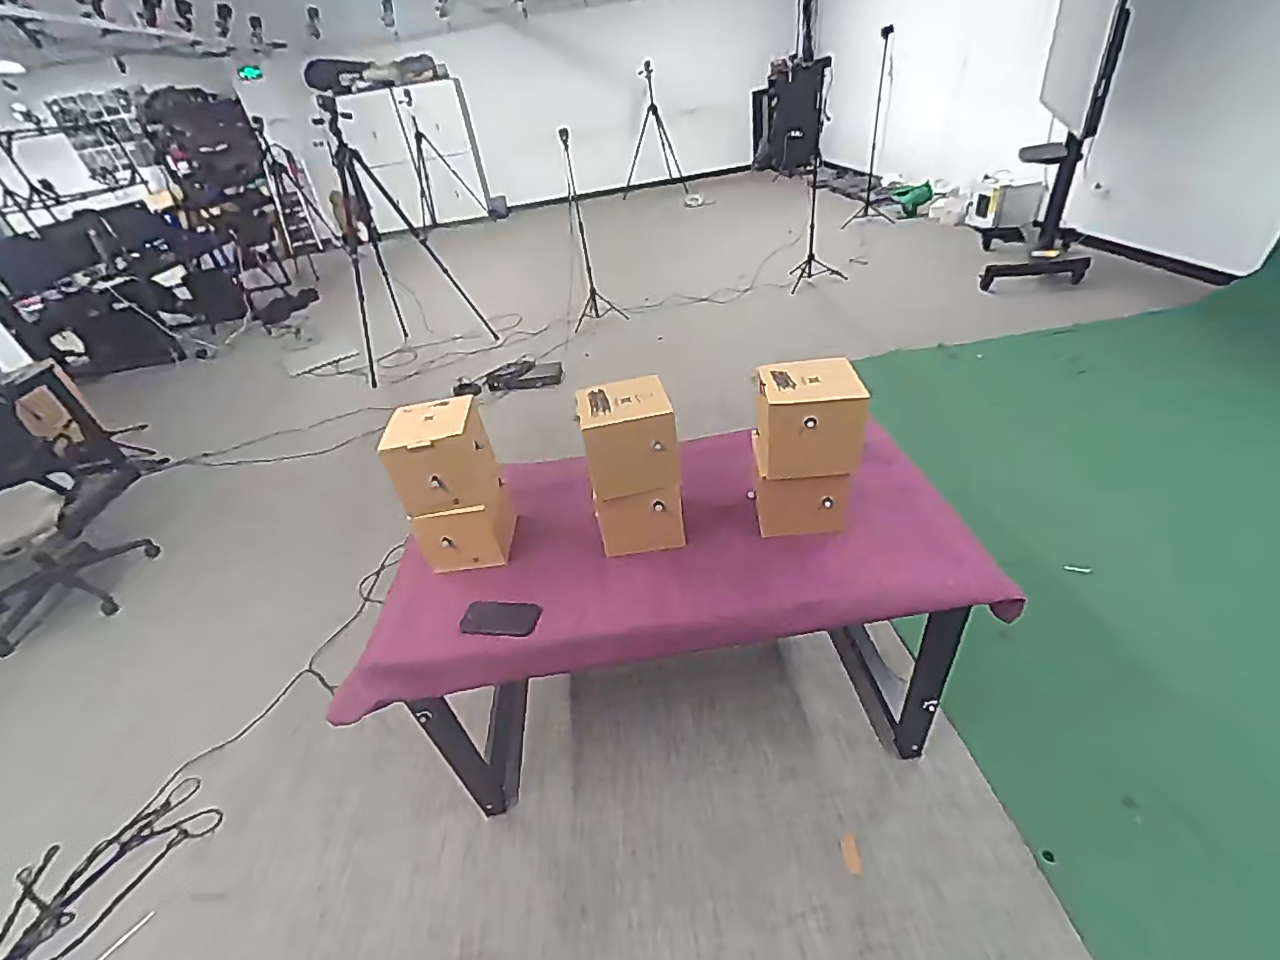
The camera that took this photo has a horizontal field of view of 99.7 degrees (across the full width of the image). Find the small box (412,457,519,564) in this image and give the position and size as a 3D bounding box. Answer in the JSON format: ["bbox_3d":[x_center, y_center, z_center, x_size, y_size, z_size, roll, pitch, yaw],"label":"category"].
[{"bbox_3d":[-0.382,0.074,1.221,0.168,0.176,0.179,-7,36,3],"label":"small box"}]

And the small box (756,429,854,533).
[{"bbox_3d":[0.343,-0.002,1.160,0.179,0.176,0.168,-4,37,8],"label":"small box"}]

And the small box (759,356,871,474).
[{"bbox_3d":[0.330,-0.124,1.050,0.179,0.176,0.168,-4,37,7],"label":"small box"}]

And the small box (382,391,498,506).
[{"bbox_3d":[-0.405,-0.061,1.129,0.168,0.176,0.179,-10,37,-2],"label":"small box"}]

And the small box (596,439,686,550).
[{"bbox_3d":[0.005,0.034,1.186,0.179,0.176,0.168,-8,36,3],"label":"small box"}]
